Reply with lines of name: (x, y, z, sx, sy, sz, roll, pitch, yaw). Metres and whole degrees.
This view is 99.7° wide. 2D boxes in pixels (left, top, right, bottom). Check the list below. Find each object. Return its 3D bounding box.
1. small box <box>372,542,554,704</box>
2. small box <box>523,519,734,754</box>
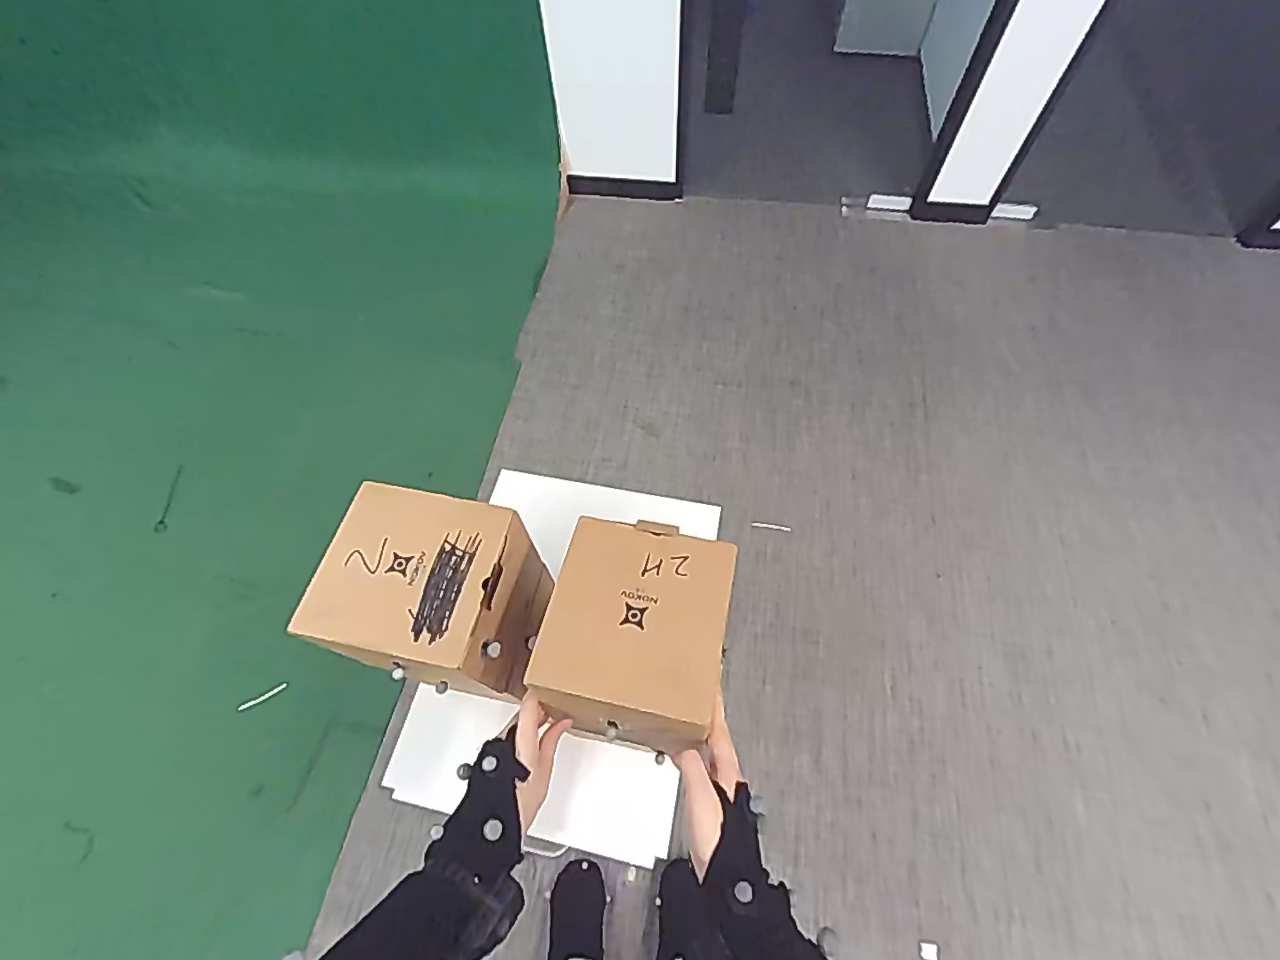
small box: (-0.223, 0.204, 0.750, 0.179, 0.176, 0.168, 10, 62, 6)
small box: (-0.002, 0.169, 0.566, 0.168, 0.176, 0.179, 10, 56, 8)
